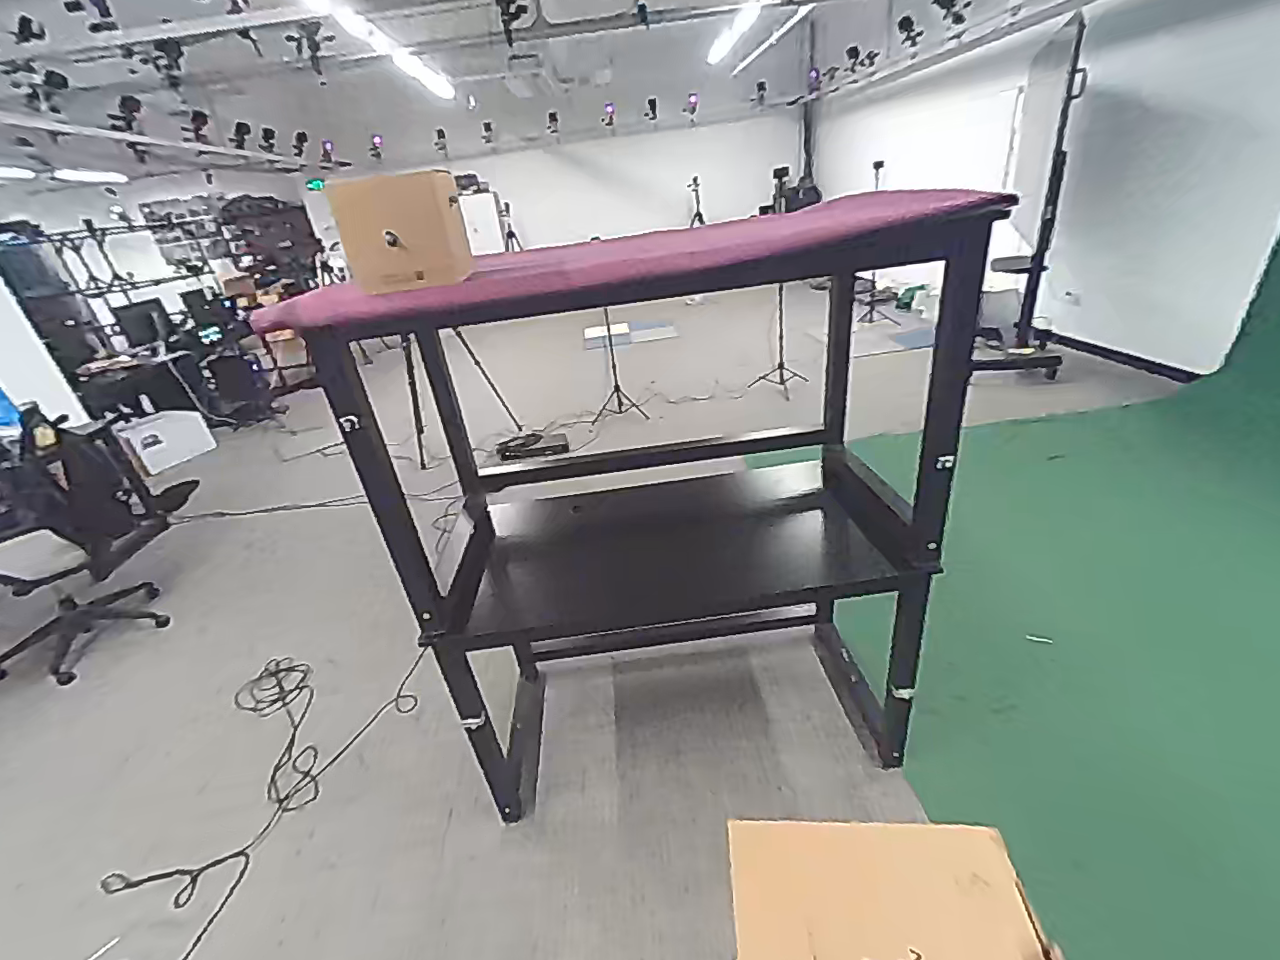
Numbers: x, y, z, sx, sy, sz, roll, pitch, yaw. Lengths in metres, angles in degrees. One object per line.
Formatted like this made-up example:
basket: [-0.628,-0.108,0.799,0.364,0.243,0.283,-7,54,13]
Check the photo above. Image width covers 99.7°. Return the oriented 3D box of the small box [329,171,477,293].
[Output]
small box: [-0.390,-0.422,0.928,0.168,0.176,0.179,-8,28,-3]
